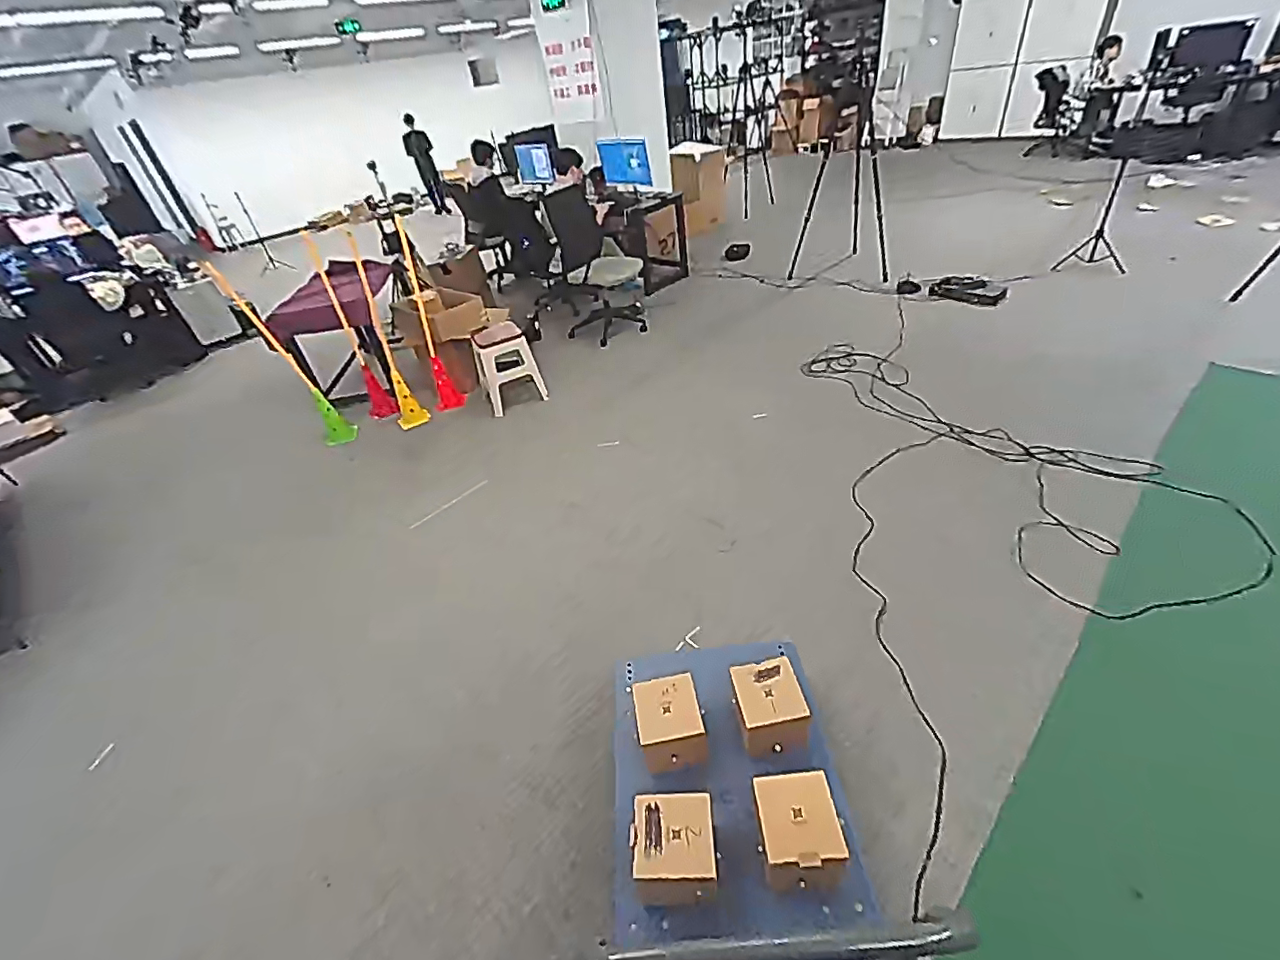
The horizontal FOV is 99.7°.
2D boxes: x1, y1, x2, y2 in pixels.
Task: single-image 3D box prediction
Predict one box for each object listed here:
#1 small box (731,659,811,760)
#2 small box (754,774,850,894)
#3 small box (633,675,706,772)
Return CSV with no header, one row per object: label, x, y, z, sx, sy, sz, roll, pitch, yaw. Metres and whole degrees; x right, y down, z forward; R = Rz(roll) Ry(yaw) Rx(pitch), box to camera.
small box,0.345,0.617,1.454,0.168,0.176,0.179,-11,38,-1
small box,0.354,0.797,1.219,0.168,0.176,0.179,-7,38,2
small box,0.080,0.659,1.454,0.168,0.176,0.179,-10,37,-2
